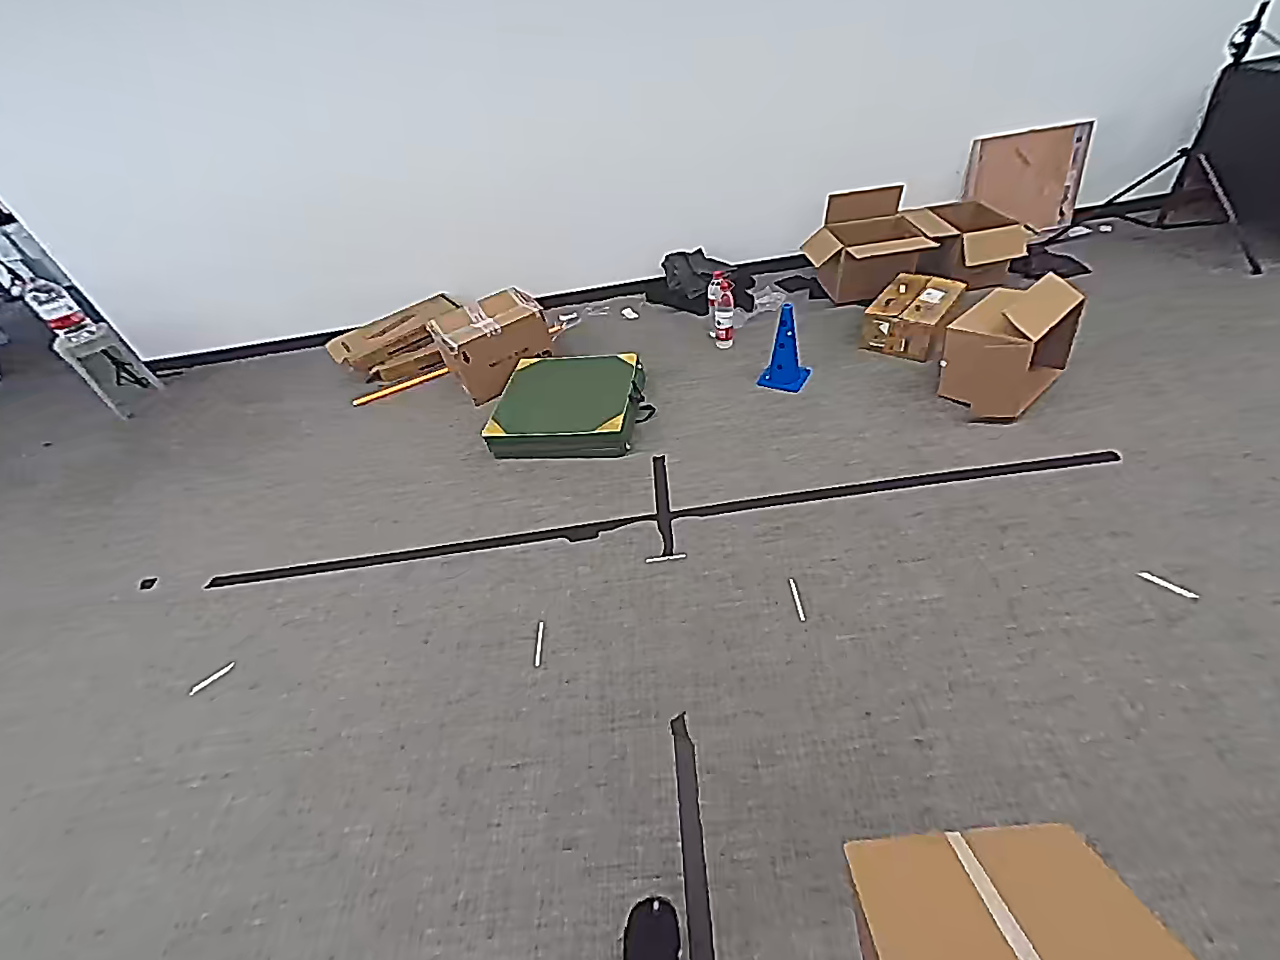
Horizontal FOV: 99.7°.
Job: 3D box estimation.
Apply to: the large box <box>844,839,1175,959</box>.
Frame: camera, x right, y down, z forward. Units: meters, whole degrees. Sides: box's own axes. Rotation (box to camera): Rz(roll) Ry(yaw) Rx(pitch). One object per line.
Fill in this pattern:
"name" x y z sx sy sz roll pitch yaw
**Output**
"large box" 0.452 0.689 0.589 0.320 0.320 0.408 -11 3 7
